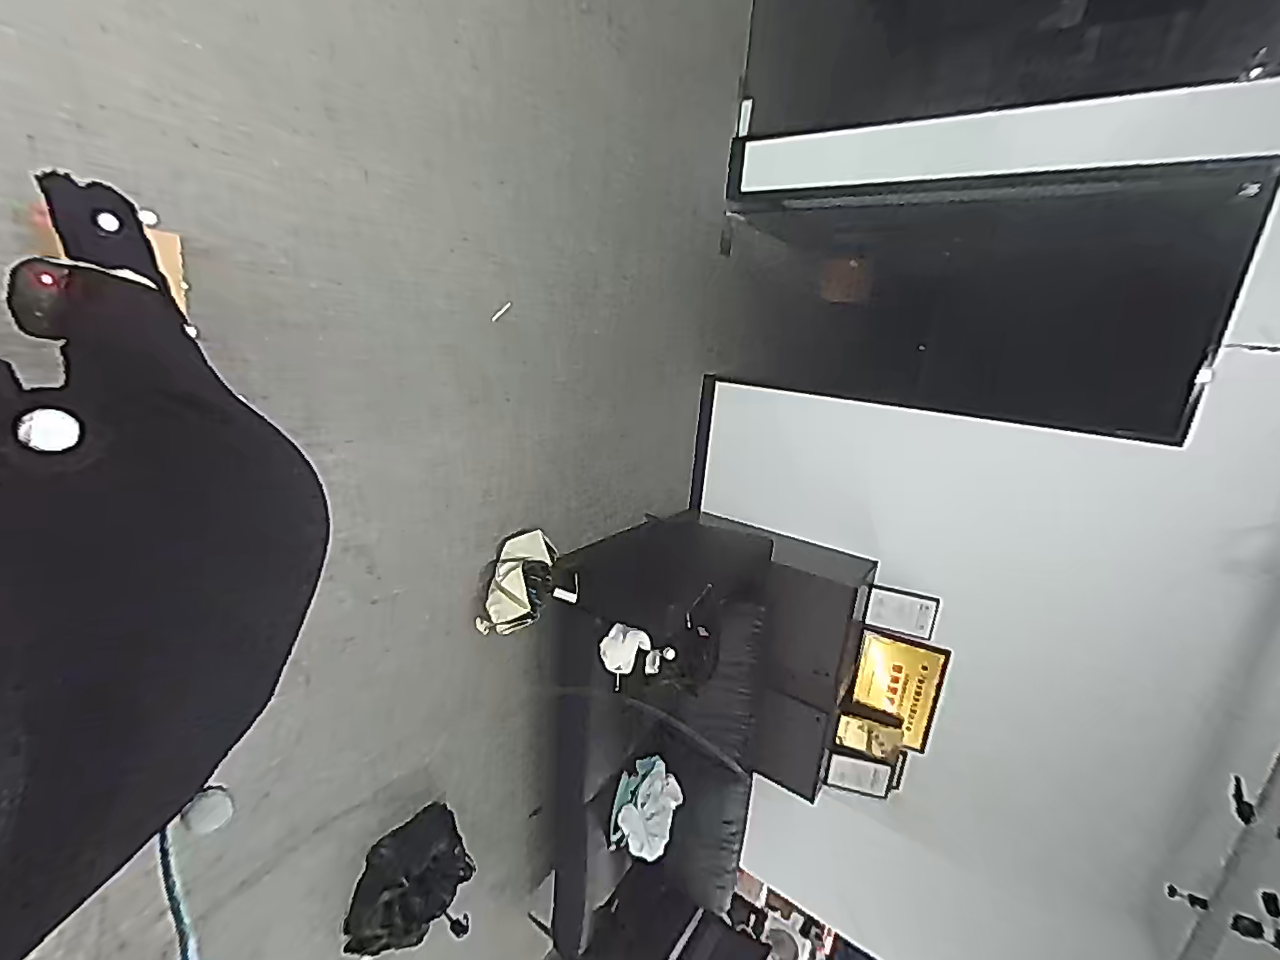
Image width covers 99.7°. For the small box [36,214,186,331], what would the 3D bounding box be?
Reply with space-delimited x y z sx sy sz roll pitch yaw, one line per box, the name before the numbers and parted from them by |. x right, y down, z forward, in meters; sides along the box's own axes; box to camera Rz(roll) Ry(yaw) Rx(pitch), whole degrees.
small box | -0.991 -0.385 1.017 0.168 0.176 0.179 -14 115 -55
